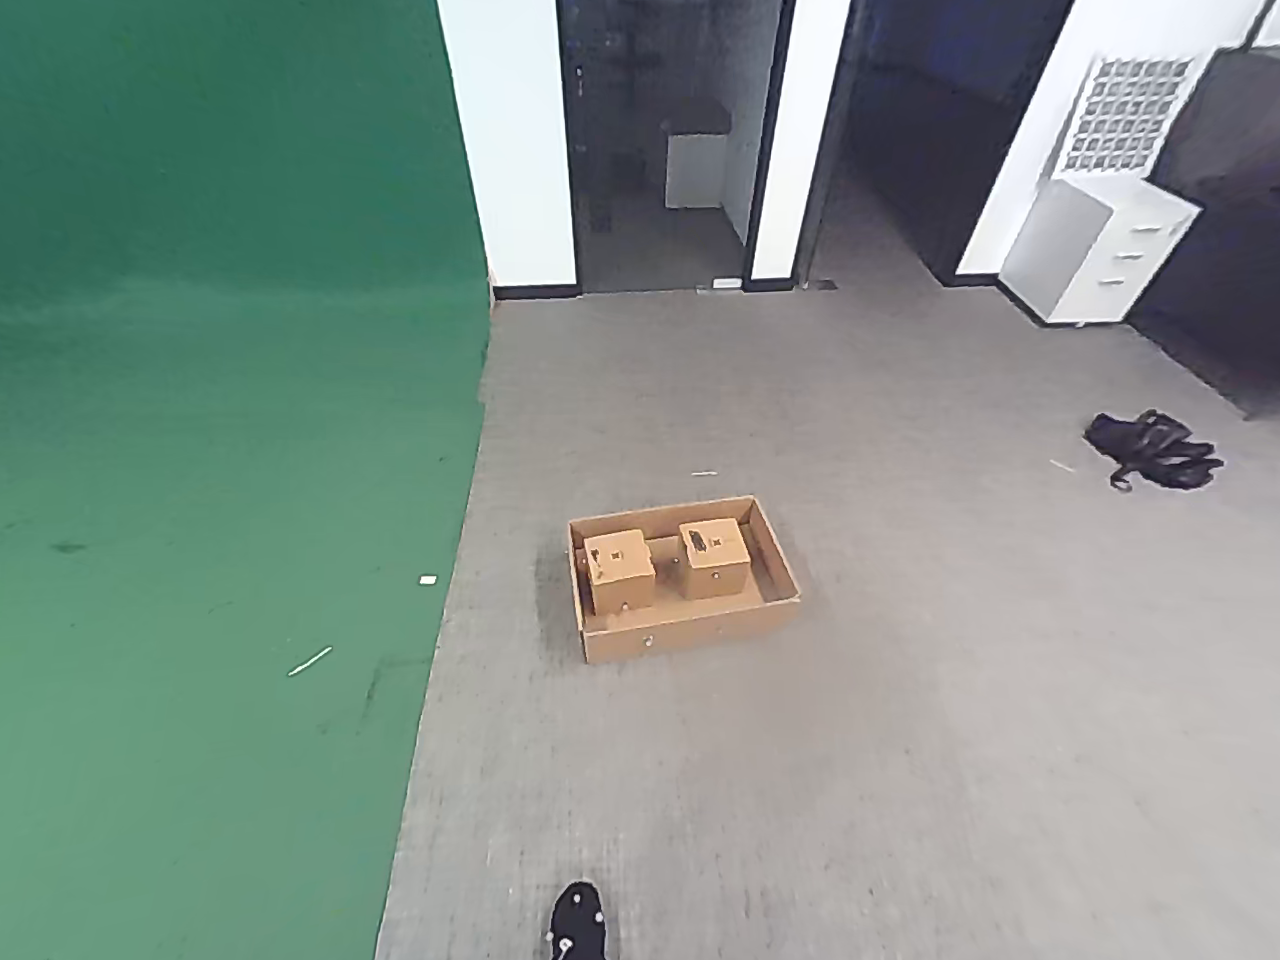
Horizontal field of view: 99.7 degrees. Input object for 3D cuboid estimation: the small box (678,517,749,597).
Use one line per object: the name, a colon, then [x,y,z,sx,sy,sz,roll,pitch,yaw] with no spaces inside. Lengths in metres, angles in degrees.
small box: [0.214,0.236,1.631,0.179,0.176,0.168,-6,46,-6]

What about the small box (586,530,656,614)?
small box: [-0.061,0.272,1.591,0.179,0.176,0.168,-8,46,-11]
